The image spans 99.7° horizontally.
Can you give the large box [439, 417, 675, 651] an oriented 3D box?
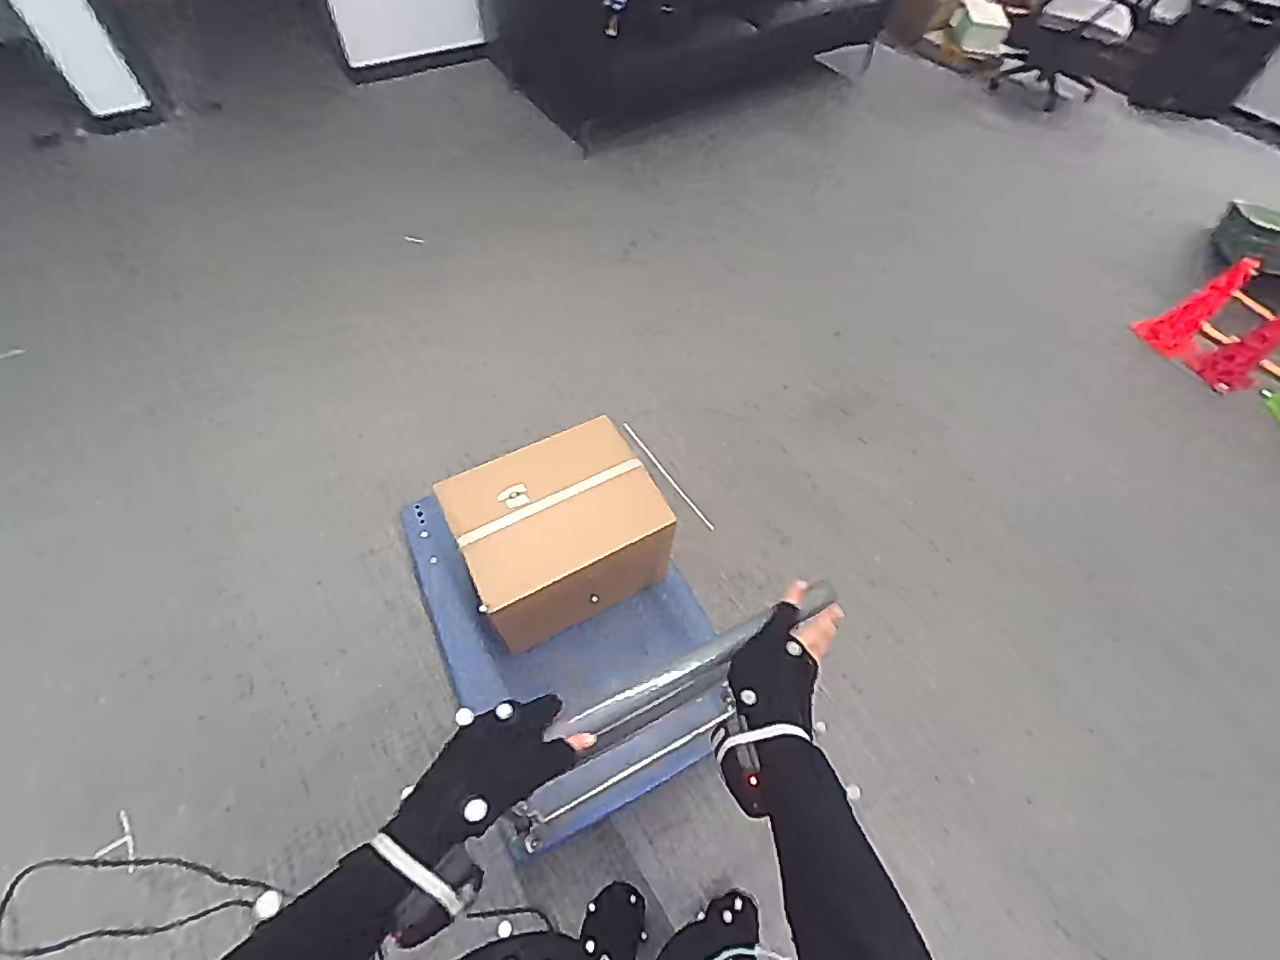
[{"bbox_3d":[-0.175,0.127,1.231,0.408,0.320,0.320,-25,62,-16],"label":"large box"}]
